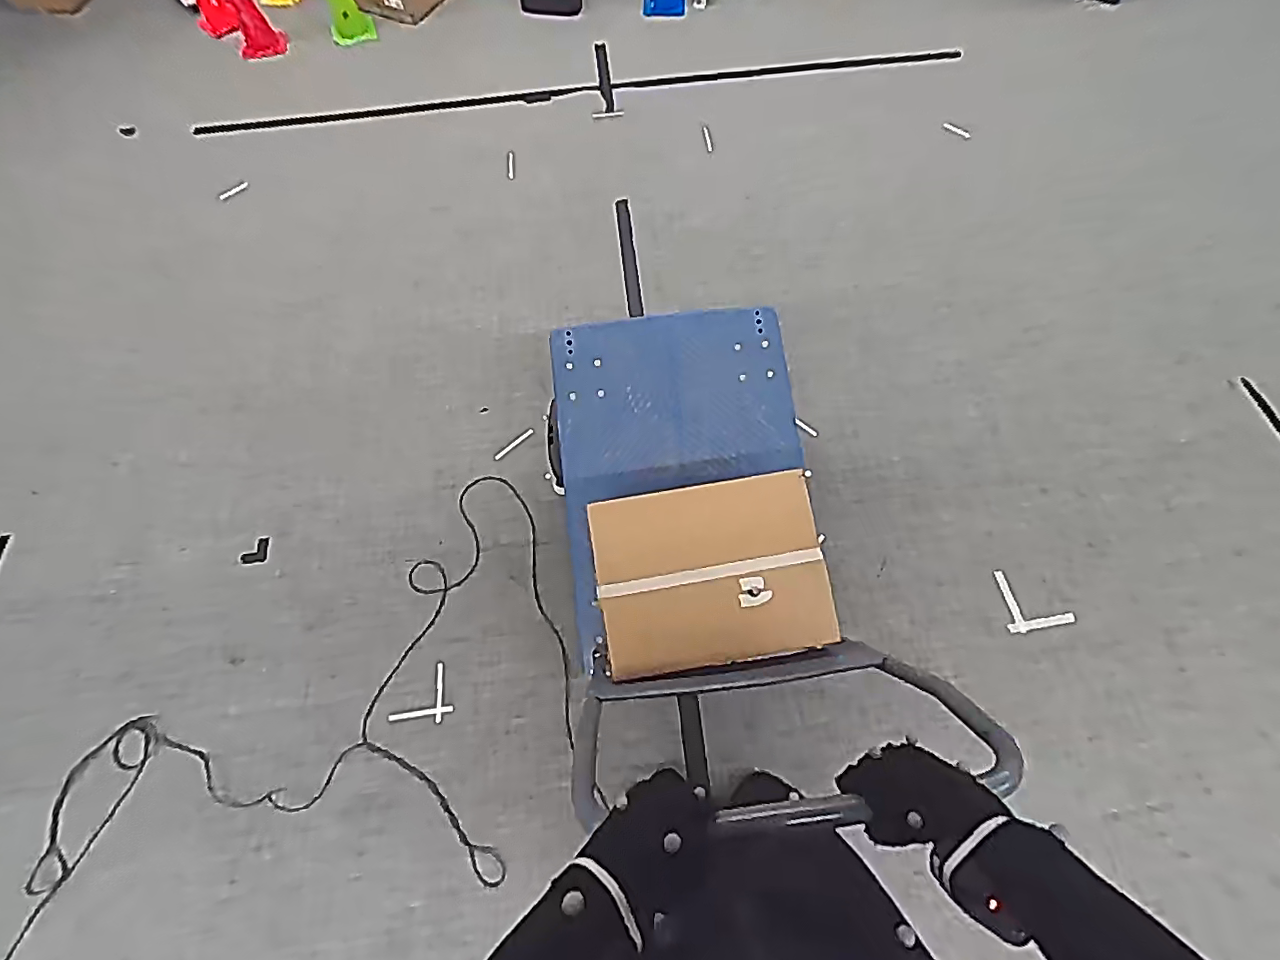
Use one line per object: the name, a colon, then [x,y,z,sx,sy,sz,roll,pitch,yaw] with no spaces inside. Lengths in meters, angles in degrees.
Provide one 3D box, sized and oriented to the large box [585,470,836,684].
large box: [0.117,0.191,1.100,0.408,0.320,0.320,-10,81,-3]
